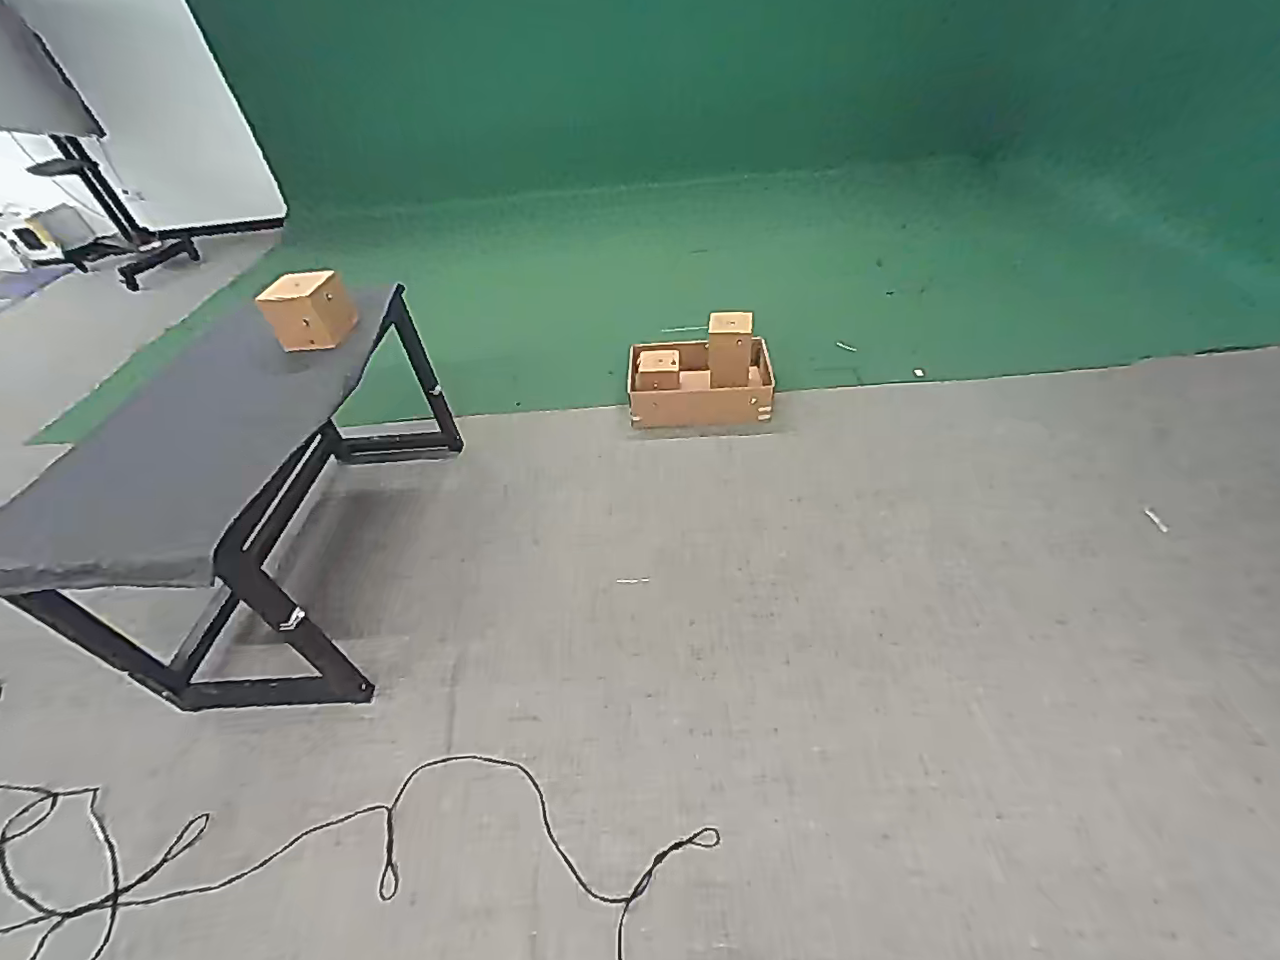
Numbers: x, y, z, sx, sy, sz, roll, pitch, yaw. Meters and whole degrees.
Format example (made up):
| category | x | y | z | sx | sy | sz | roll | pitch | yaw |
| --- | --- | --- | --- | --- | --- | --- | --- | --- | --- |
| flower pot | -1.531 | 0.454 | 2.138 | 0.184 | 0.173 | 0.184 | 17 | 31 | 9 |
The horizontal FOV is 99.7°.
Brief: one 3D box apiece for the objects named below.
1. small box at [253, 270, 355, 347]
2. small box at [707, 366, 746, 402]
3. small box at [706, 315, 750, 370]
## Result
| category | x | y | z | sx | sy | sz | roll | pitch | yaw |
| --- | --- | --- | --- | --- | --- | --- | --- | --- | --- |
| small box | -0.998 | -0.511 | 1.628 | 0.168 | 0.176 | 0.179 | -1 | 43 | 6 |
| small box | 0.386 | -0.468 | 2.413 | 0.168 | 0.176 | 0.179 | 2 | 46 | 10 |
| small box | 0.373 | -0.581 | 2.295 | 0.179 | 0.176 | 0.168 | 3 | 45 | 10 |
